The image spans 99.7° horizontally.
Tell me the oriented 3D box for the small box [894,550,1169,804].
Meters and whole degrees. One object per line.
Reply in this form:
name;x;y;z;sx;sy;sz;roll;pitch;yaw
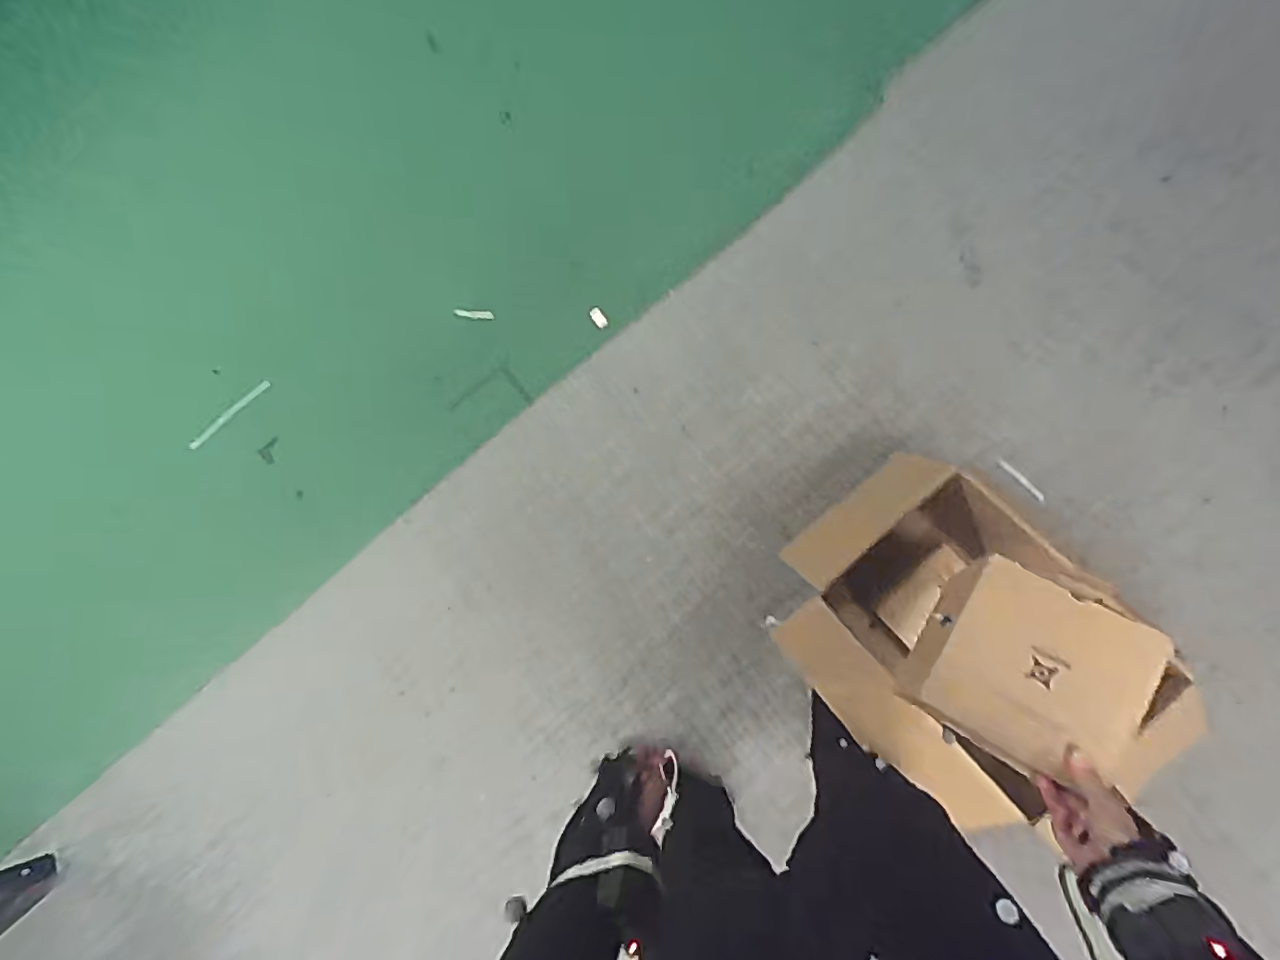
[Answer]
small box;0.402;0.204;0.592;0.168;0.176;0.179;29;81;22
